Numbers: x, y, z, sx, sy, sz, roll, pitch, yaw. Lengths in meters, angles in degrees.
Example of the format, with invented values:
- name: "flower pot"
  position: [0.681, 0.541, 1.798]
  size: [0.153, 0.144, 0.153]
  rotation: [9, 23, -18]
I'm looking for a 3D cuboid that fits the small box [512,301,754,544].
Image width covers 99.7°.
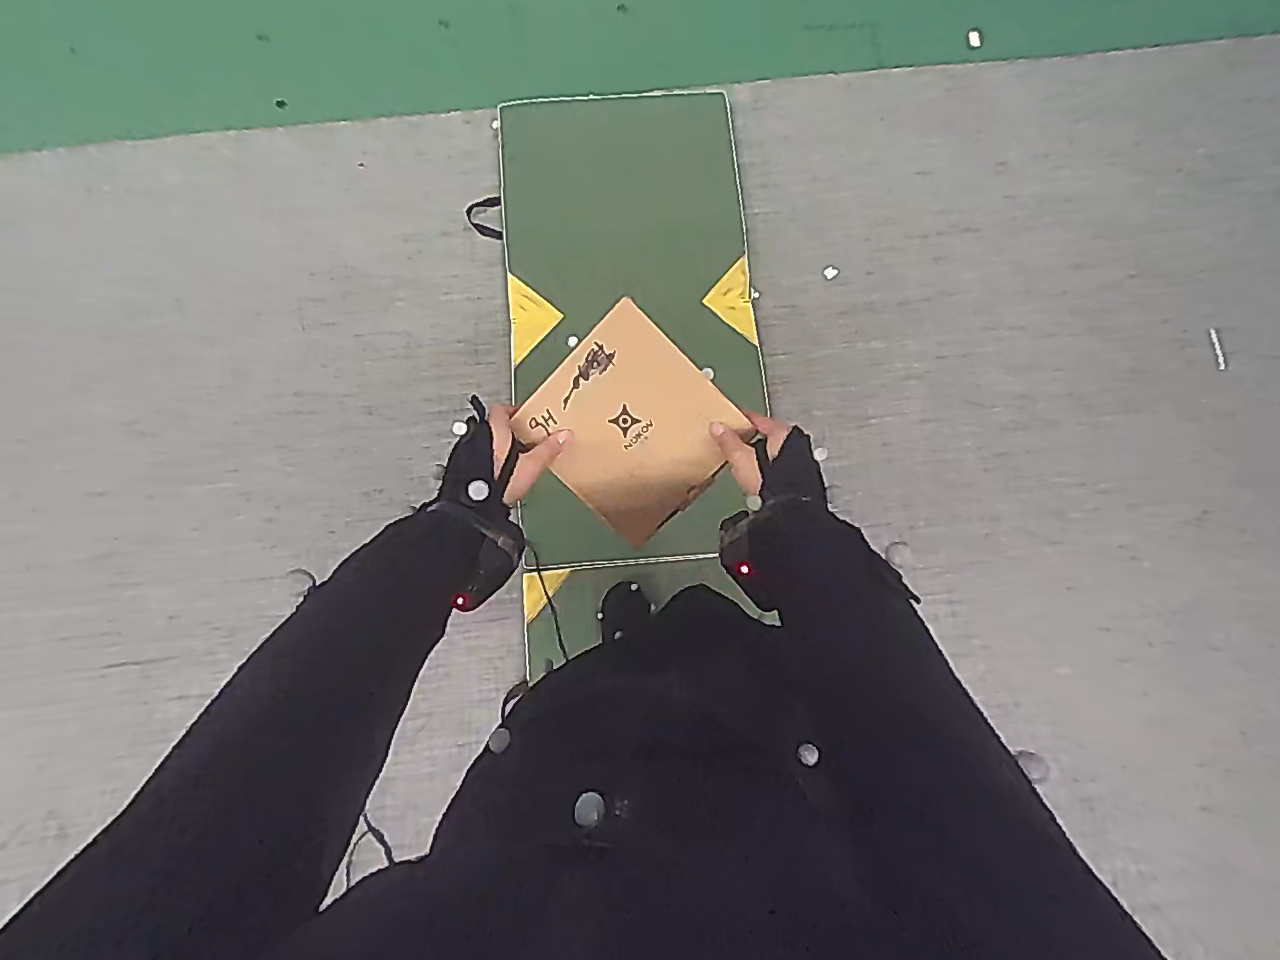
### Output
- name: "small box"
  position: [-0.003, -0.064, 0.590]
  size: [0.179, 0.176, 0.168]
  rotation: [45, 99, -4]
